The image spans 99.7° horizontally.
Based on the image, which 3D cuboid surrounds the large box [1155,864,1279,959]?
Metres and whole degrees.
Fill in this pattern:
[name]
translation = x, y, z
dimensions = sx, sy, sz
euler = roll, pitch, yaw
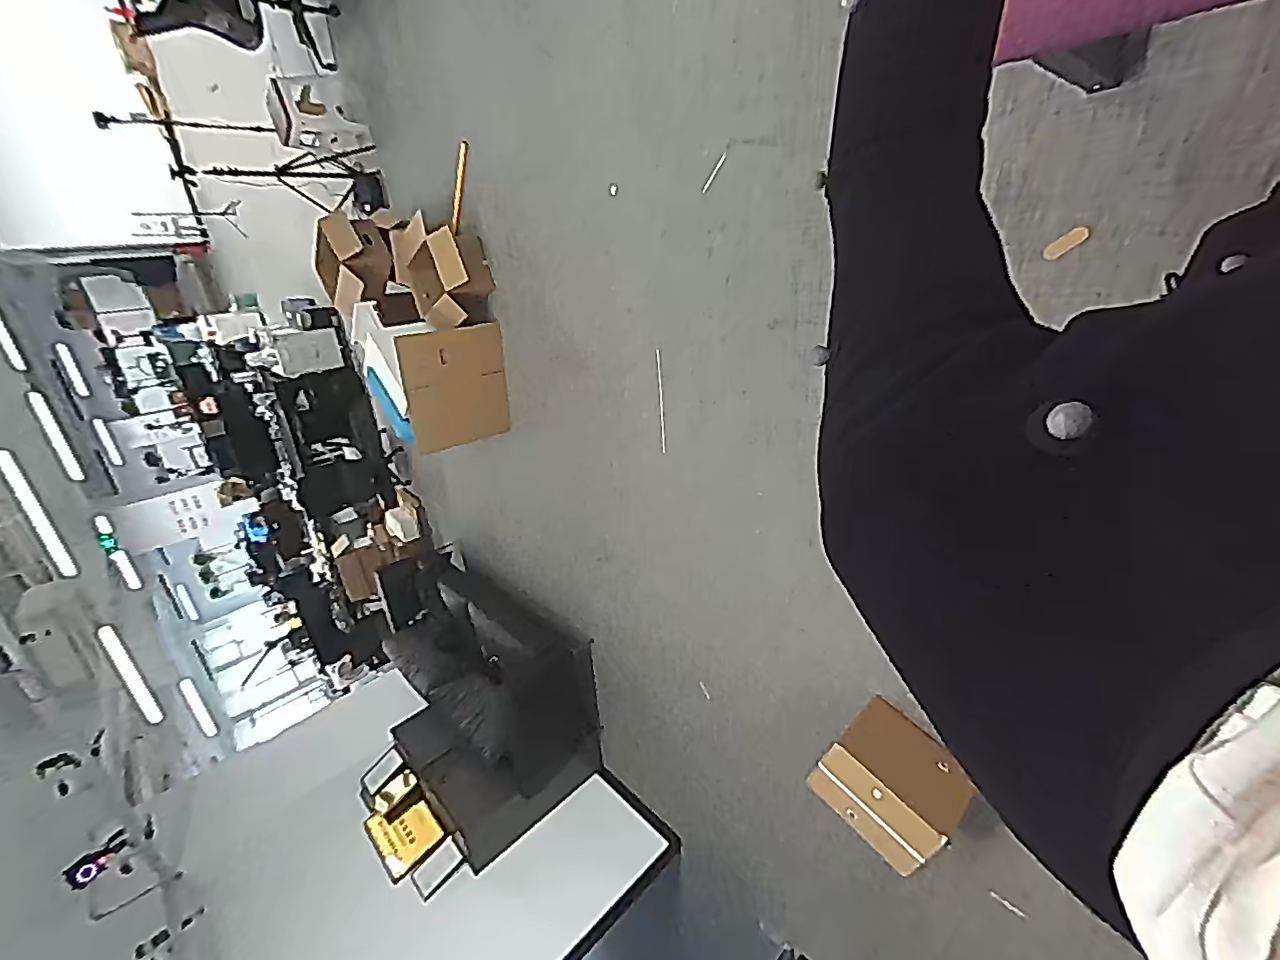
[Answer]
[large box]
translation = 1.527, 1.178, 1.245
dimensions = 0.408, 0.320, 0.320
euler = -28, 87, 51
